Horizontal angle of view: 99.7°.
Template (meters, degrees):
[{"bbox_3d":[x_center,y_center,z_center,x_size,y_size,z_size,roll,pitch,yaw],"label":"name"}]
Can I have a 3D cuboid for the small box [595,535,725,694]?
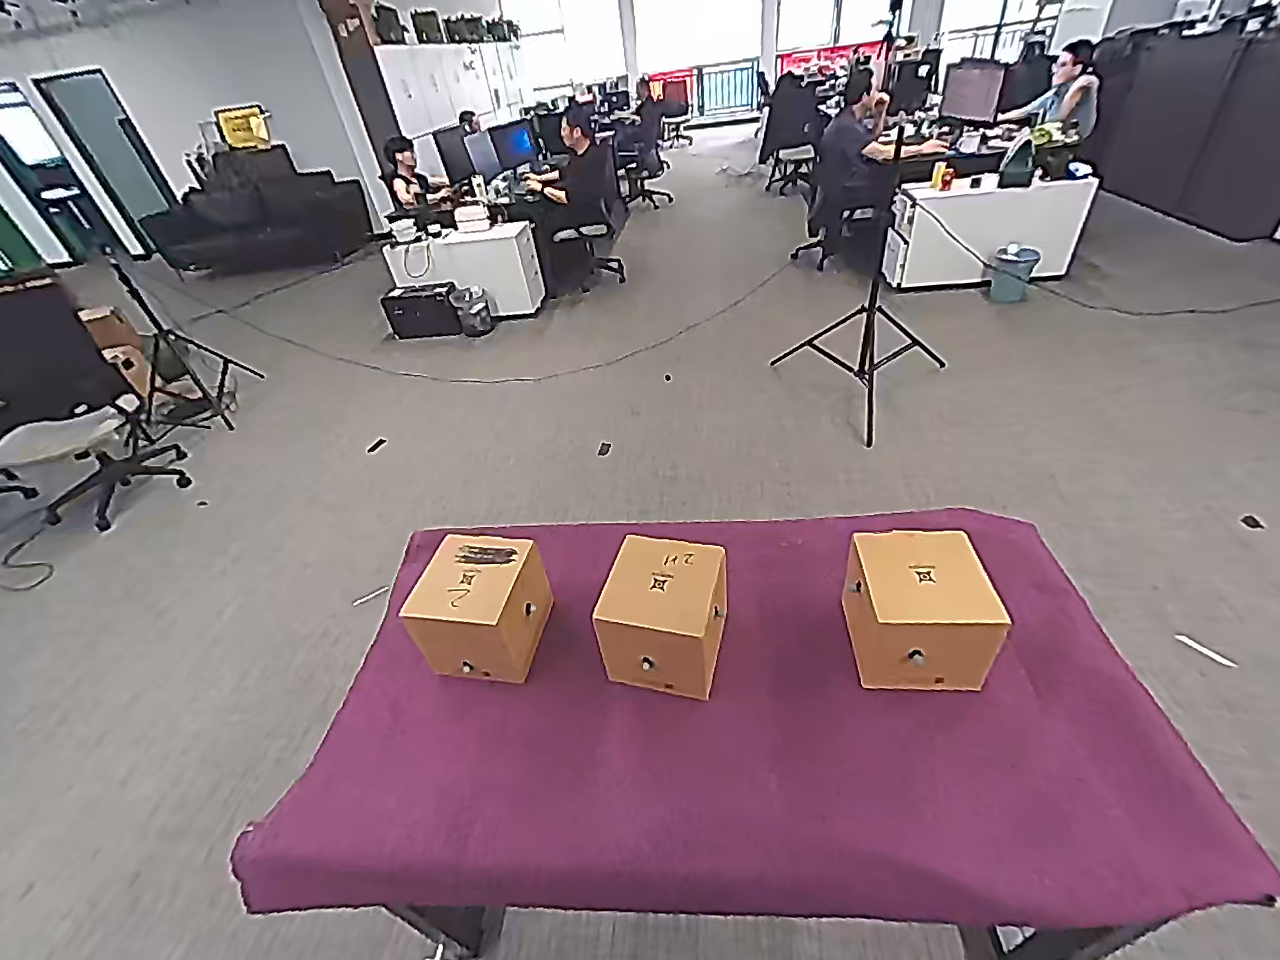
[{"bbox_3d":[0.044,0.216,0.873,0.168,0.176,0.179,6,40,17],"label":"small box"}]

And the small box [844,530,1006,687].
[{"bbox_3d":[0.418,0.198,0.828,0.168,0.176,0.179,-2,38,9],"label":"small box"}]
